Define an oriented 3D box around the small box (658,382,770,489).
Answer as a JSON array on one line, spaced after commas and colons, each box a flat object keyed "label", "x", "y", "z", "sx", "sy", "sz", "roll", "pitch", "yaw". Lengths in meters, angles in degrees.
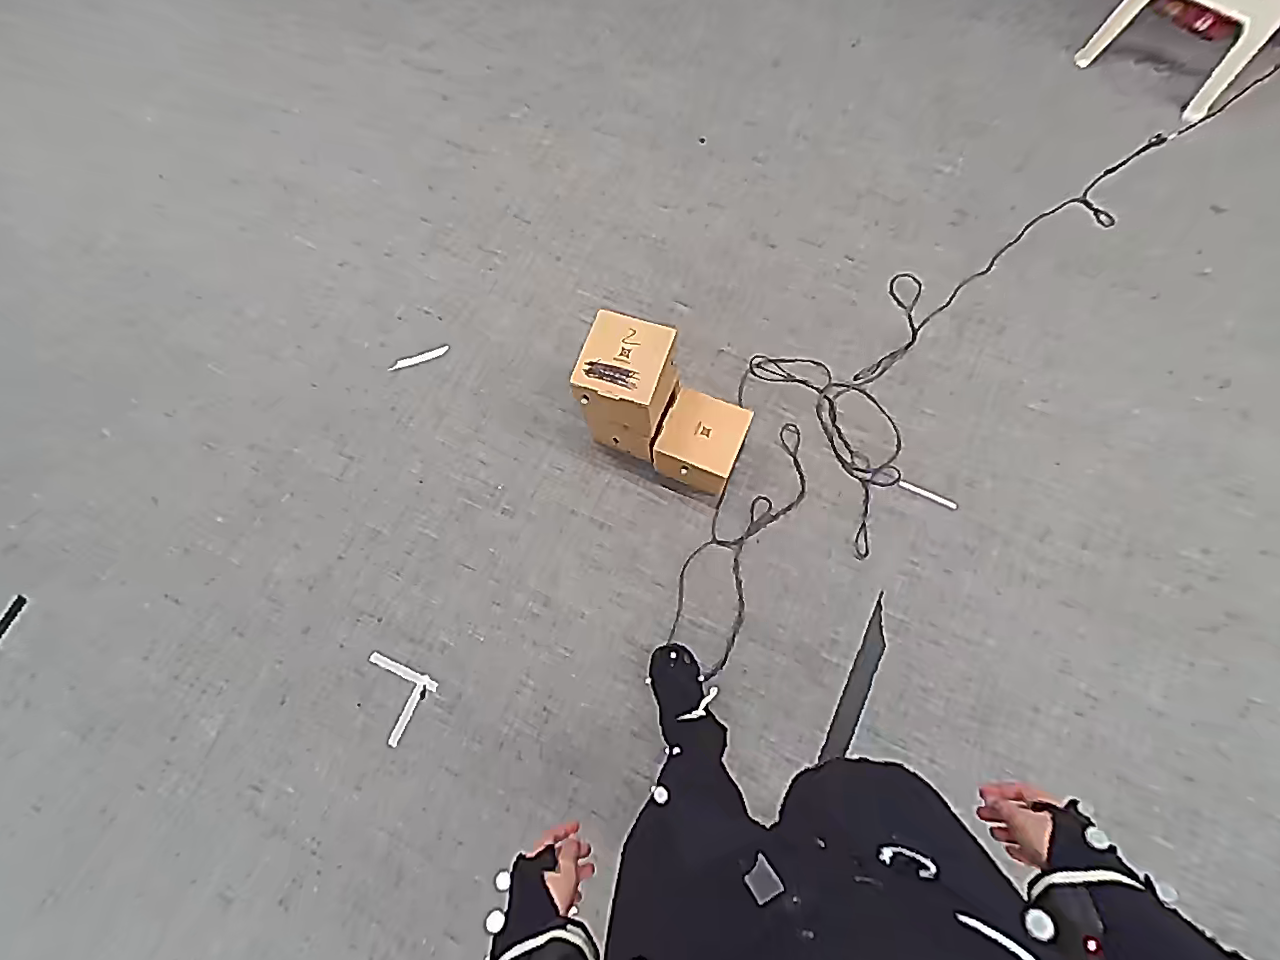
[{"label": "small box", "x": 0.155, "y": -0.095, "z": 1.181, "sx": 0.179, "sy": 0.176, "sz": 0.168, "roll": -40, "pitch": 90, "yaw": 2}]
